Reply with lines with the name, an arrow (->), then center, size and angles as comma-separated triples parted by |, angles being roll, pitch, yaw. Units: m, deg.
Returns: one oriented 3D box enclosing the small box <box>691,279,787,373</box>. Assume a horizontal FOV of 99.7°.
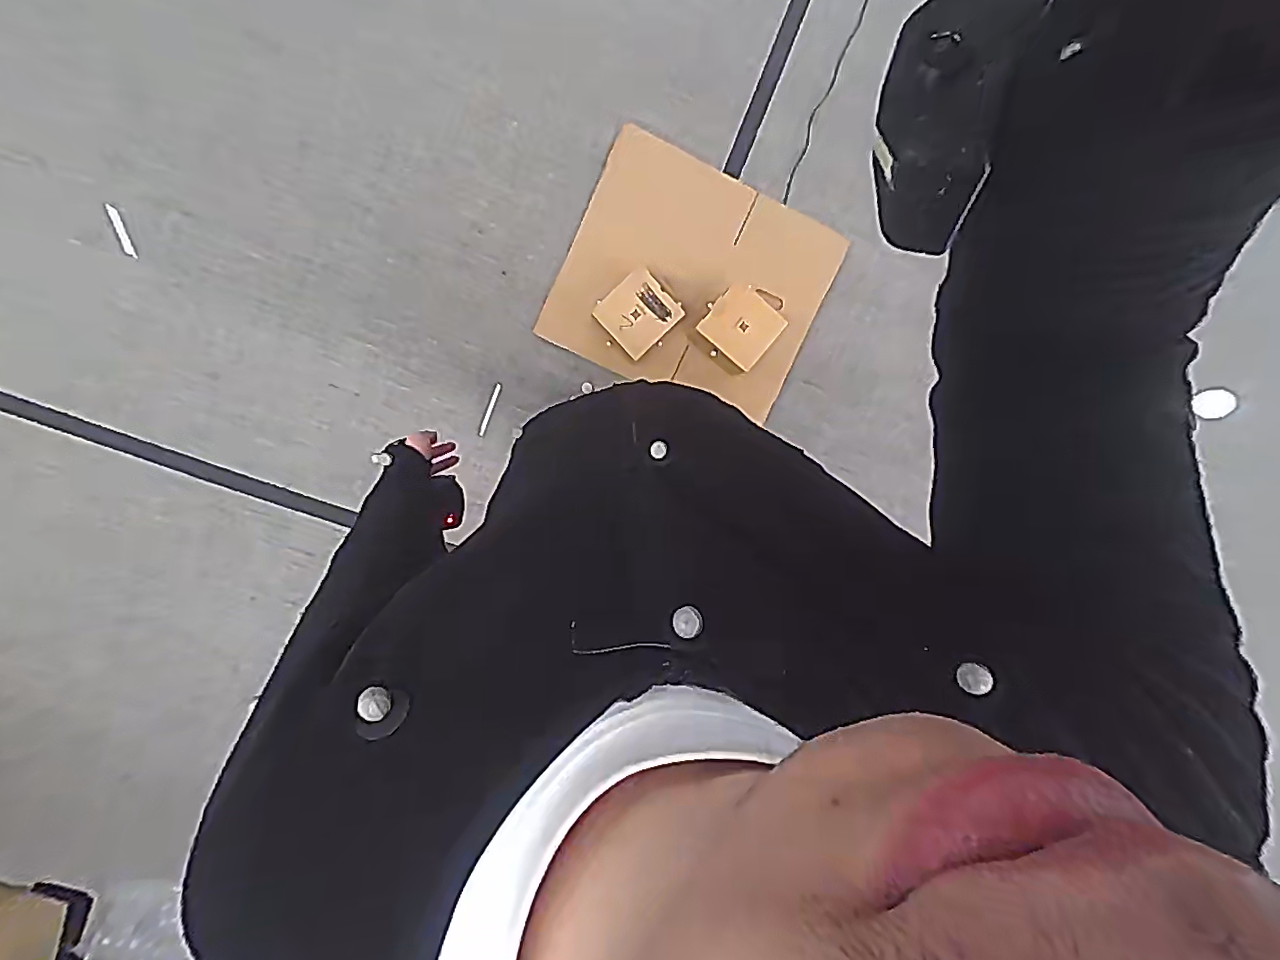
small box -> 0.257, -0.404, 1.450 | 0.179, 0.176, 0.168 | 40, 94, -5
